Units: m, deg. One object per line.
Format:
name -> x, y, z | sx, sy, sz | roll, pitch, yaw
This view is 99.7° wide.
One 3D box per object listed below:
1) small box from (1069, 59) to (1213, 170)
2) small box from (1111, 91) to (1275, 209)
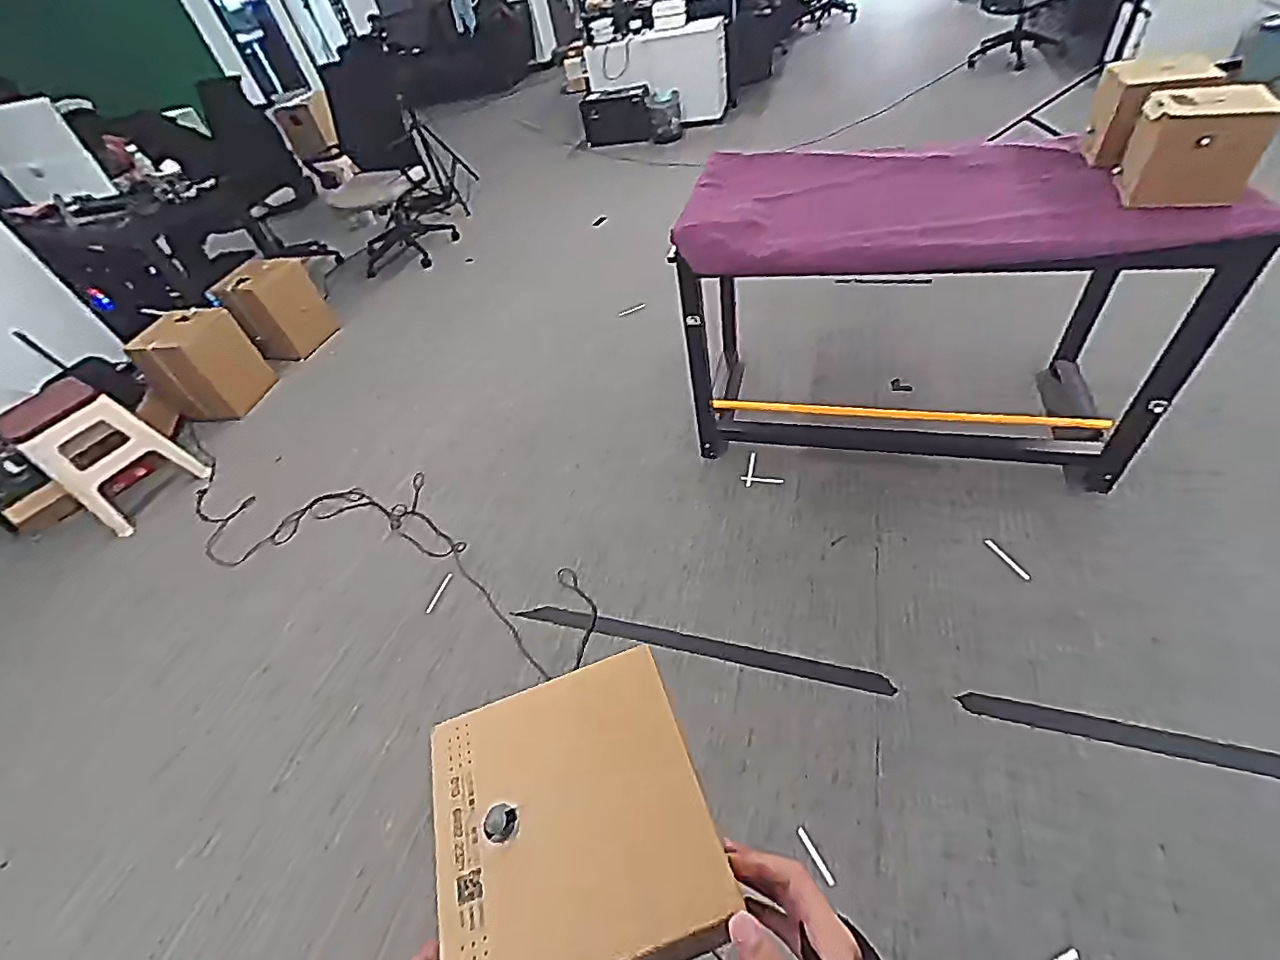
small box -> 1.154, -0.848, 1.262 | 0.179, 0.176, 0.168 | 5, 50, 17
small box -> 1.111, -0.672, 1.111 | 0.179, 0.176, 0.168 | 10, 50, 21
